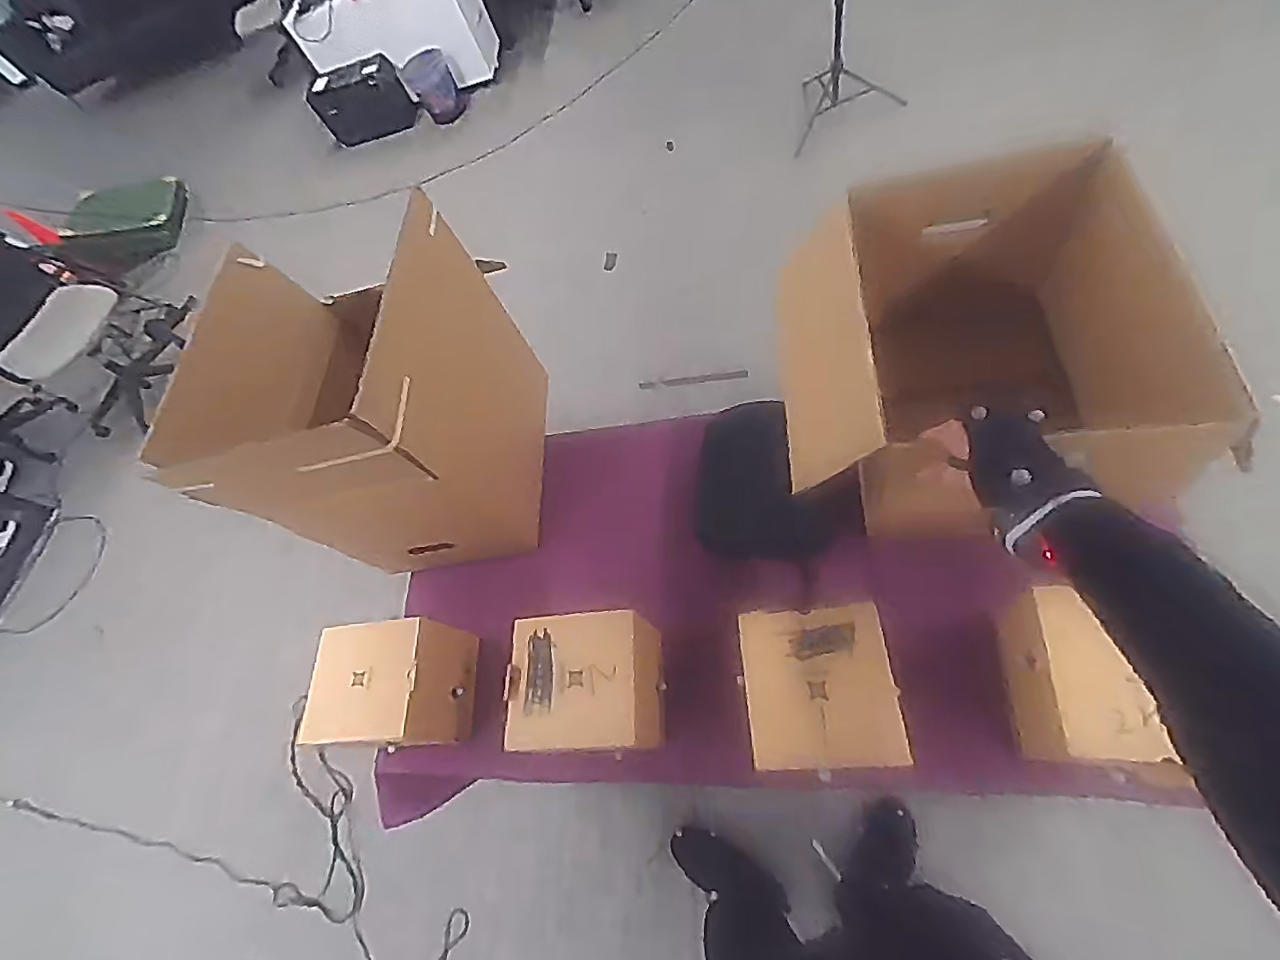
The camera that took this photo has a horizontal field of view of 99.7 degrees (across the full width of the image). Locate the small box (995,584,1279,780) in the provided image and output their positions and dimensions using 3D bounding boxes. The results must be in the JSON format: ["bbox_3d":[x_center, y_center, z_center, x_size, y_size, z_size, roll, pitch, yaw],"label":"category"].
[{"bbox_3d":[0.527,0.228,0.611,0.168,0.176,0.179,-2,63,18],"label":"small box"}]

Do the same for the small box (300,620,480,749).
[{"bbox_3d":[-0.379,0.328,0.850,0.179,0.176,0.168,-9,61,12],"label":"small box"}]

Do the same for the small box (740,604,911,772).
[{"bbox_3d":[0.225,0.270,0.688,0.168,0.176,0.179,-9,62,14],"label":"small box"}]
